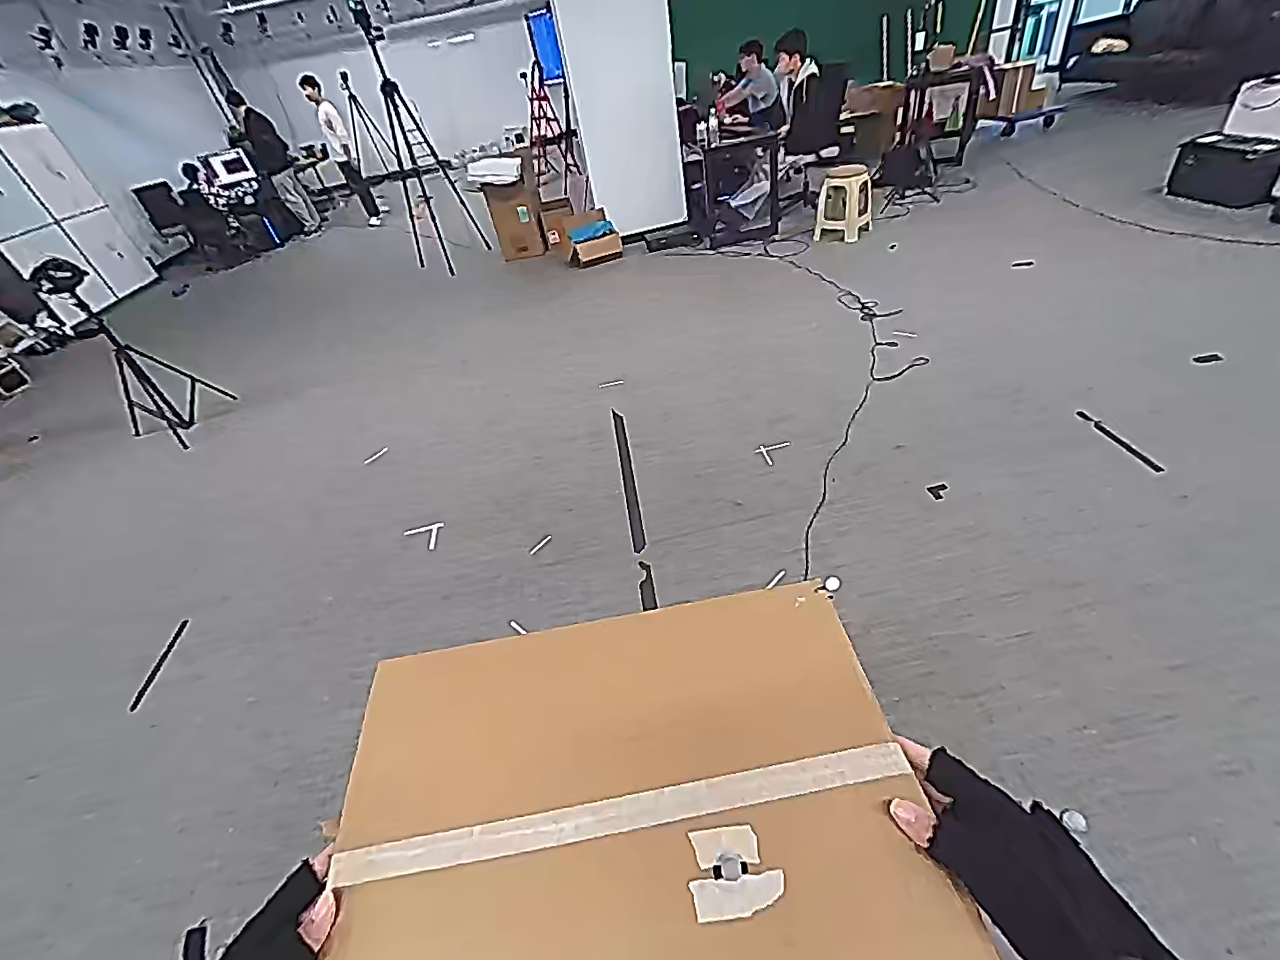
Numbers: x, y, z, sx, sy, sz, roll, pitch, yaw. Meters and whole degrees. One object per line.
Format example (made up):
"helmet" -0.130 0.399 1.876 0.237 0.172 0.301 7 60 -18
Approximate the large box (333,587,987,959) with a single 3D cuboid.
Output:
"large box" 0.004 0.345 0.493 0.408 0.320 0.320 -10 45 -2
